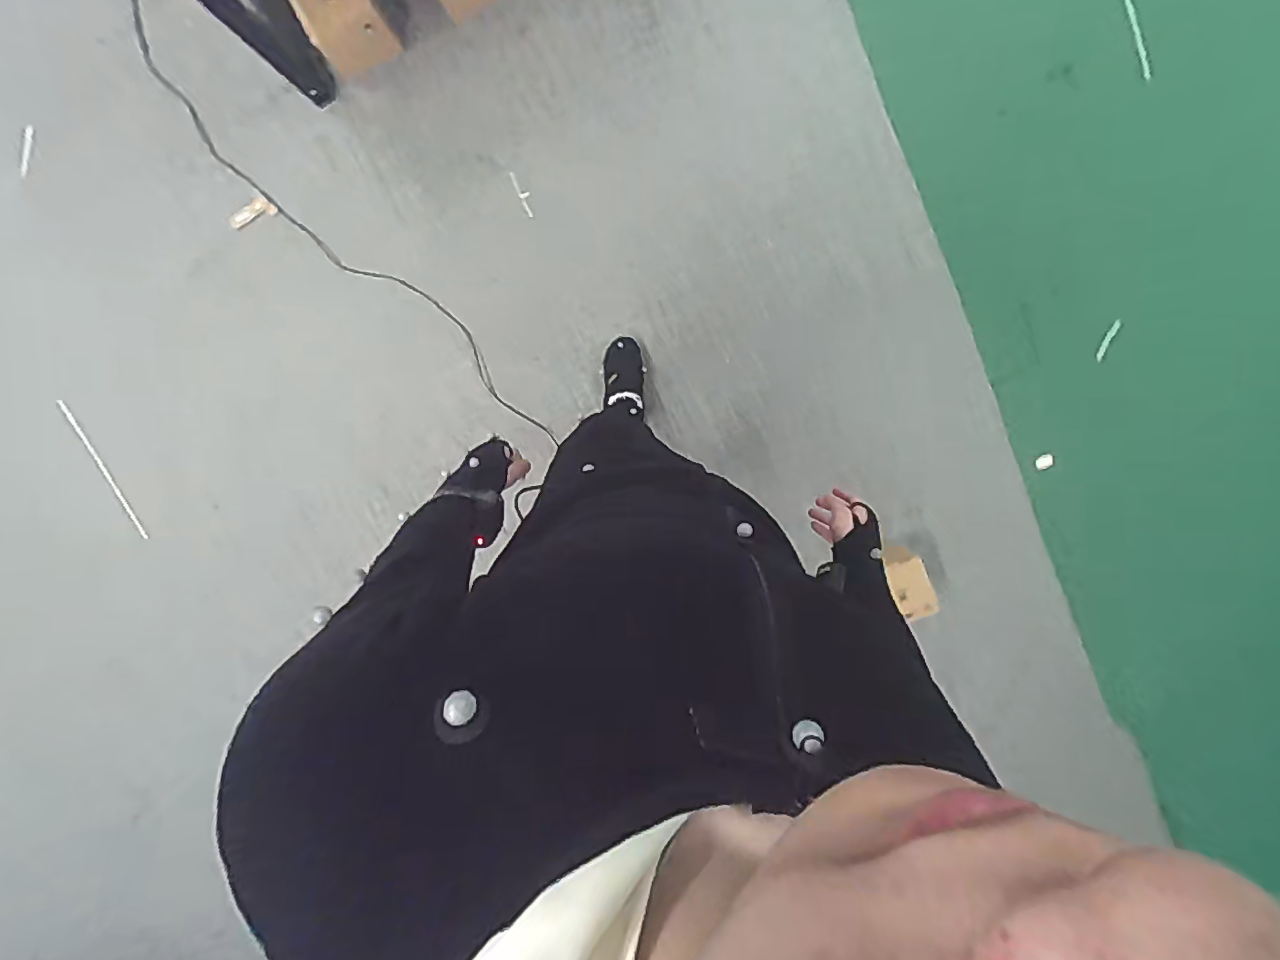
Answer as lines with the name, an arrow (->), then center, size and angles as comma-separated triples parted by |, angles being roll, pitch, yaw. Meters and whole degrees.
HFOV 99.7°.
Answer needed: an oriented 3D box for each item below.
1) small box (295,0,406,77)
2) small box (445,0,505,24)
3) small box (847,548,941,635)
small box -> -0.742, -1.186, 1.380 | 0.179, 0.176, 0.168 | -26, 97, 5
small box -> -0.443, -1.312, 1.352 | 0.179, 0.176, 0.168 | -24, 96, 6
small box -> 0.721, 0.309, 1.555 | 0.168, 0.176, 0.179 | -22, 97, 5
